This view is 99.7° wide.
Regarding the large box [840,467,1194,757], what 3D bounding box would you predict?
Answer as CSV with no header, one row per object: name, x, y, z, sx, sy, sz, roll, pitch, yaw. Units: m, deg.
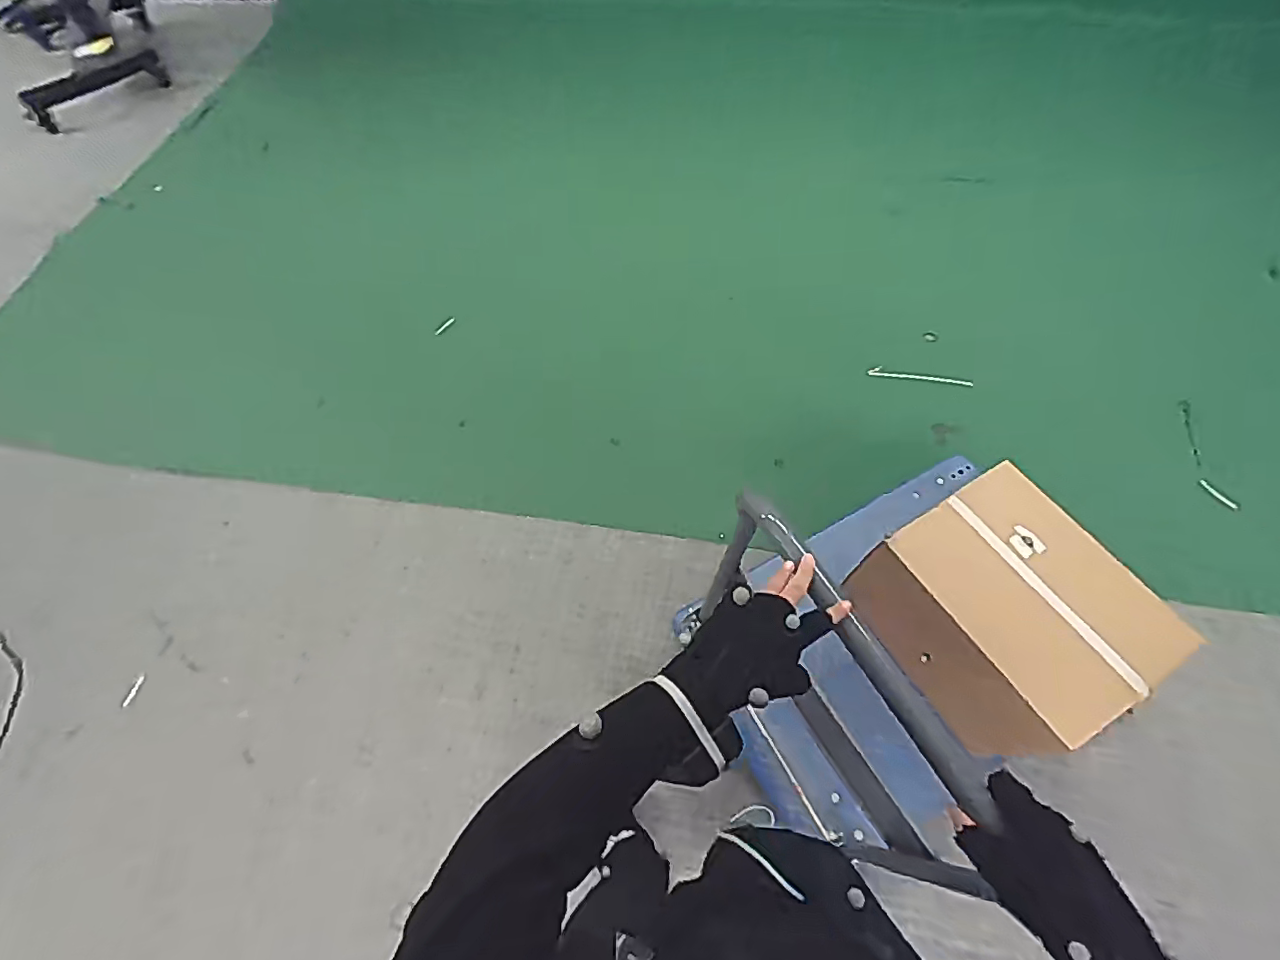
large box,0.671,0.261,1.051,0.320,0.320,0.408,-29,63,-12
